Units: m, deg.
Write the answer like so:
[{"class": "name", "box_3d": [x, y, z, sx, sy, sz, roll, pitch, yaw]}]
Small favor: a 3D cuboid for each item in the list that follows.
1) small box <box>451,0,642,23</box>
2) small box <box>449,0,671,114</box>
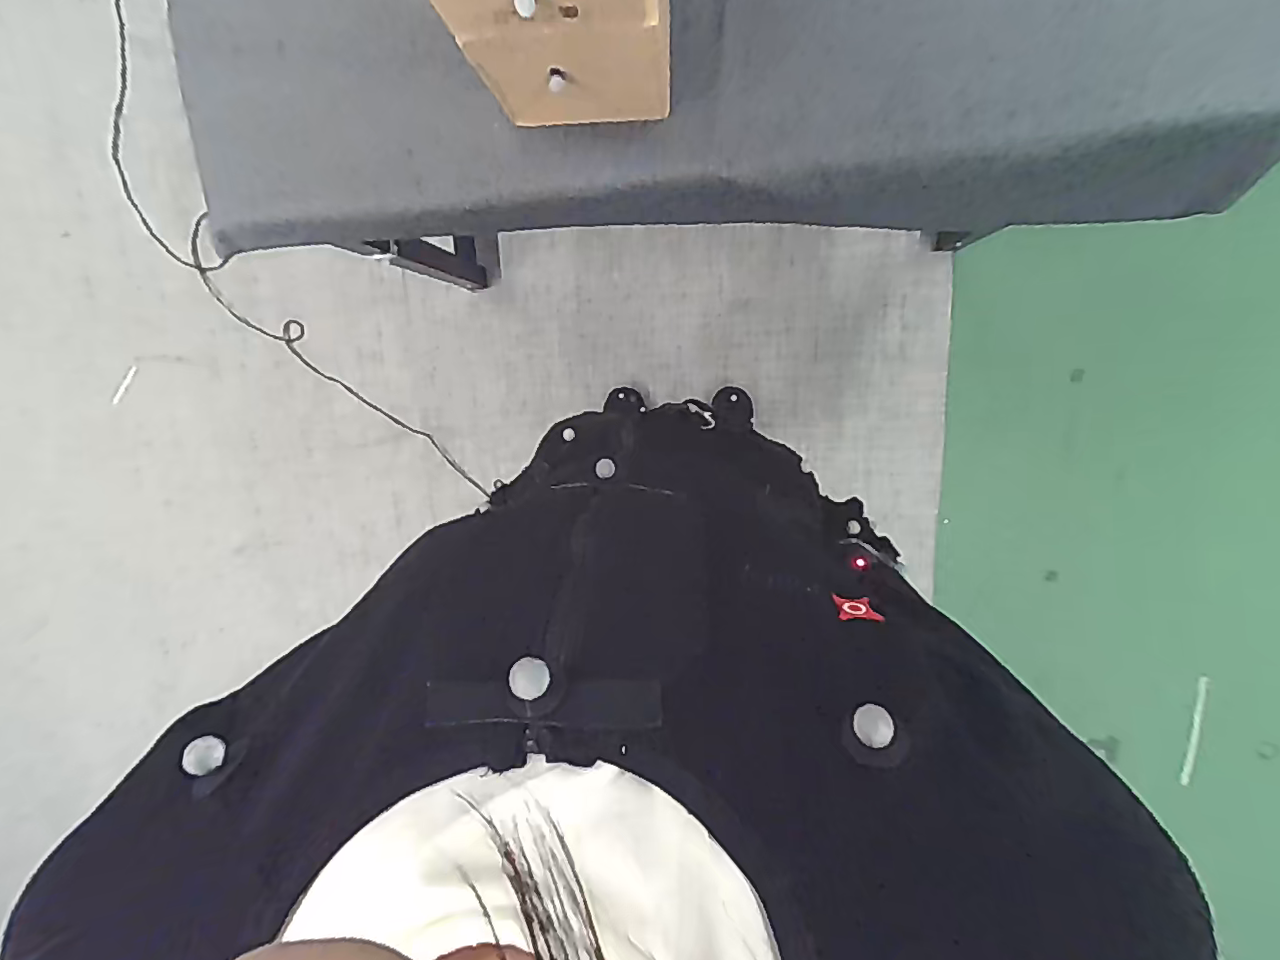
[{"class": "small box", "box_3d": [-0.083, -0.447, 0.349, 0.168, 0.176, 0.179, 1, 102, 5]}, {"class": "small box", "box_3d": [-0.064, -0.473, 0.511, 0.179, 0.176, 0.168, 1, 102, 6]}]
